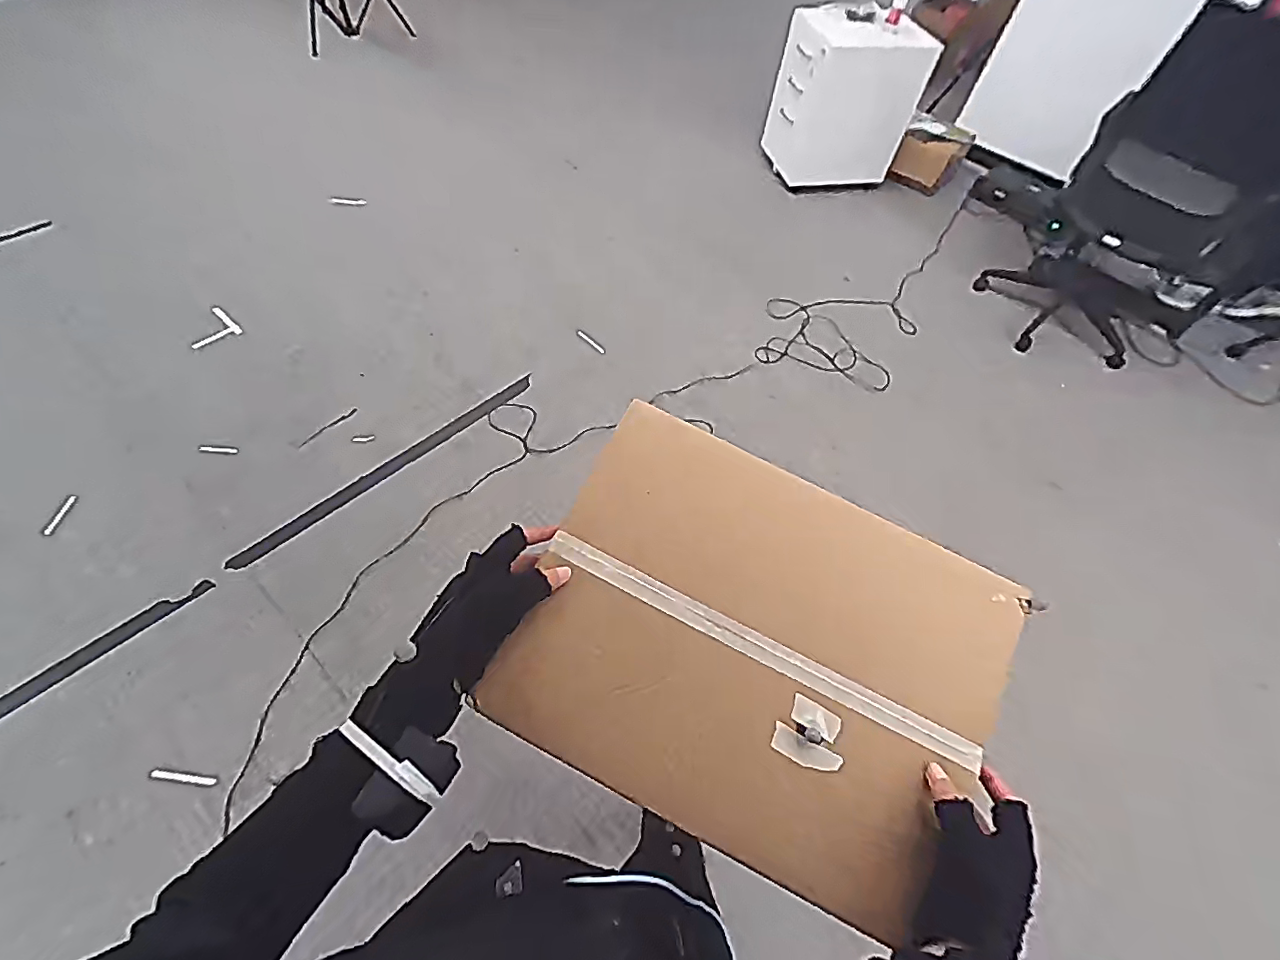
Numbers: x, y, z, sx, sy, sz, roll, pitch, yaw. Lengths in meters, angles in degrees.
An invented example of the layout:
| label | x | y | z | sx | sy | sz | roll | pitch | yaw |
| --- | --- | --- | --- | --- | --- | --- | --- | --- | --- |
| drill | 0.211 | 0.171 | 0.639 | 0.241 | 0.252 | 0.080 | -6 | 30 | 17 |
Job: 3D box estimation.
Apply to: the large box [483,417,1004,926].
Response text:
| label | x | y | z | sx | sy | sz | roll | pitch | yaw |
| --- | --- | --- | --- | --- | --- | --- | --- | --- | --- |
| large box | 0.097 | 0.187 | 0.635 | 0.408 | 0.320 | 0.320 | 27 | 77 | 5 |
